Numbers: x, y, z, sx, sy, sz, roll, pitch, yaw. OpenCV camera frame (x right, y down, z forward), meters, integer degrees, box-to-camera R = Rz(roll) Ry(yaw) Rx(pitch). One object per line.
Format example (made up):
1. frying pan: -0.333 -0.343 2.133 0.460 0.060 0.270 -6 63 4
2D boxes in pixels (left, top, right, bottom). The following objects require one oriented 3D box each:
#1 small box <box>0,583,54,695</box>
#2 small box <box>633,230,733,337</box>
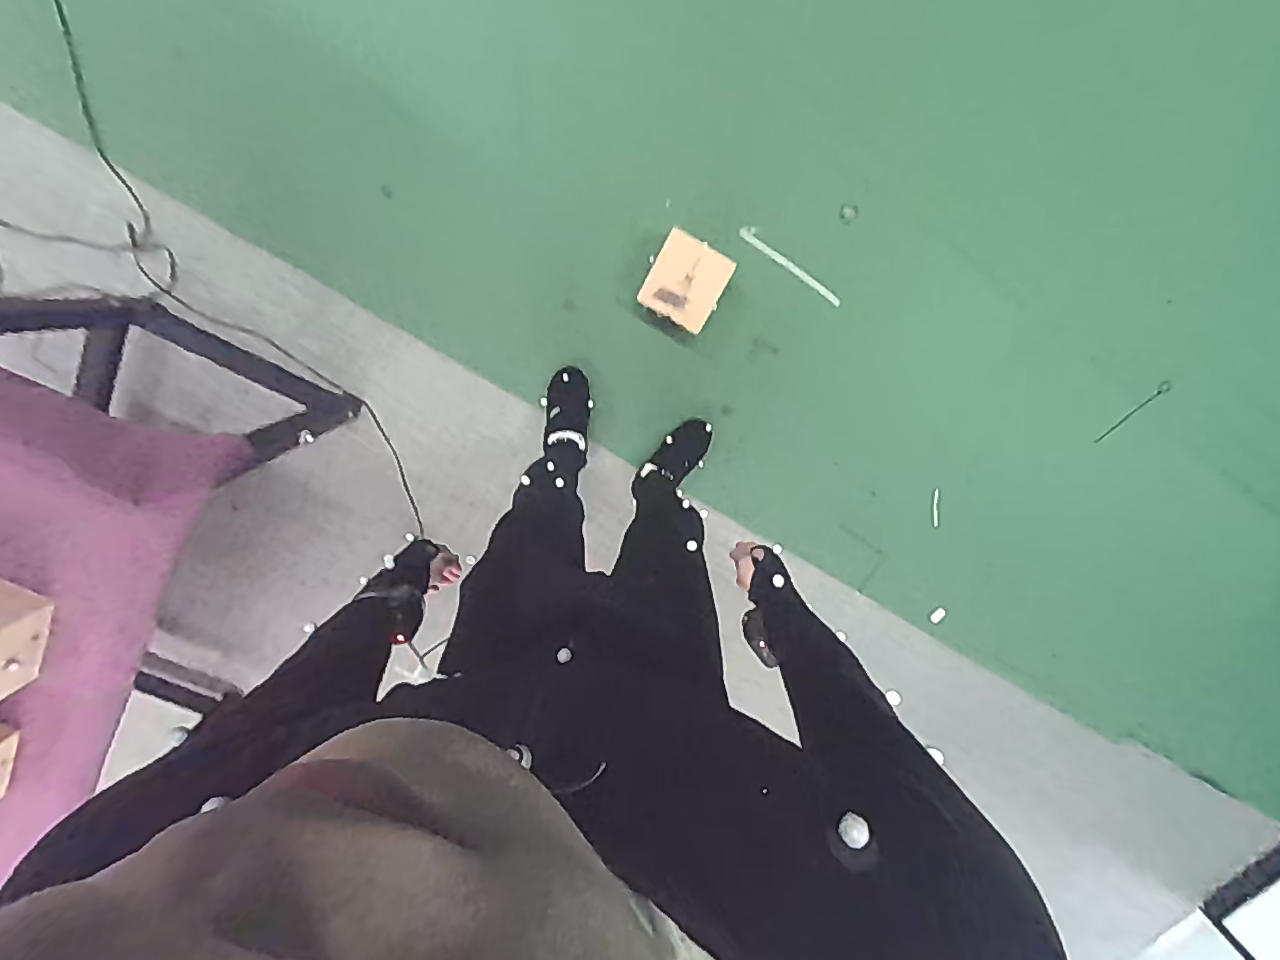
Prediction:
1. small box: -0.998 0.237 0.747 0.179 0.176 0.168 29 107 -10
2. small box: 0.097 -0.465 1.292 0.168 0.176 0.179 27 106 -10
